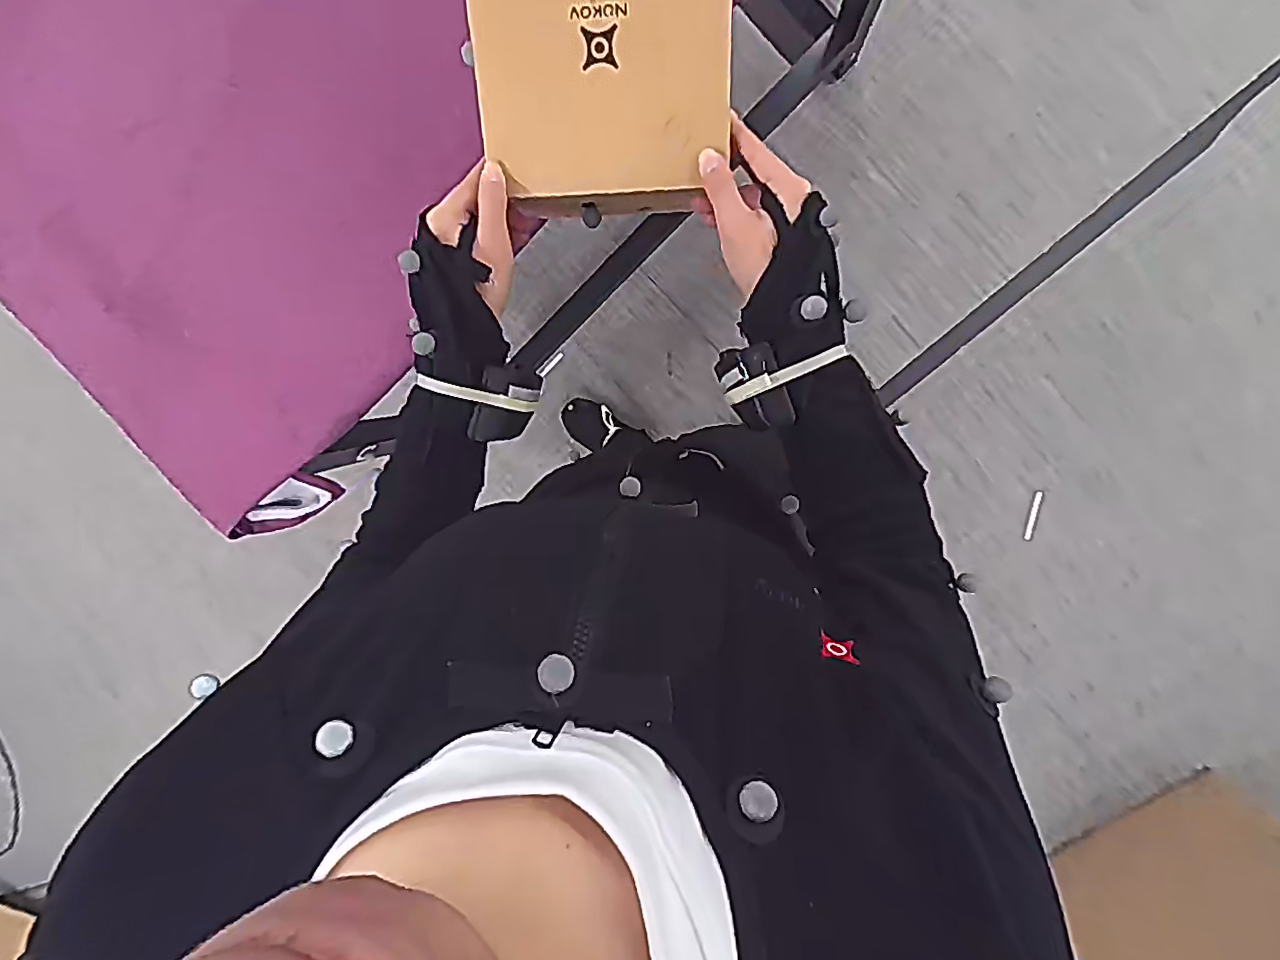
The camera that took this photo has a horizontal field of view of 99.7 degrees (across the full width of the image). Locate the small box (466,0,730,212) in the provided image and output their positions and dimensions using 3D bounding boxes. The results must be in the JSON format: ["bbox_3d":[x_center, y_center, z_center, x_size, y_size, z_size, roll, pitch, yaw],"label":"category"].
[{"bbox_3d":[-0.019,-0.306,0.410,0.168,0.176,0.179,-1,110,4],"label":"small box"}]
